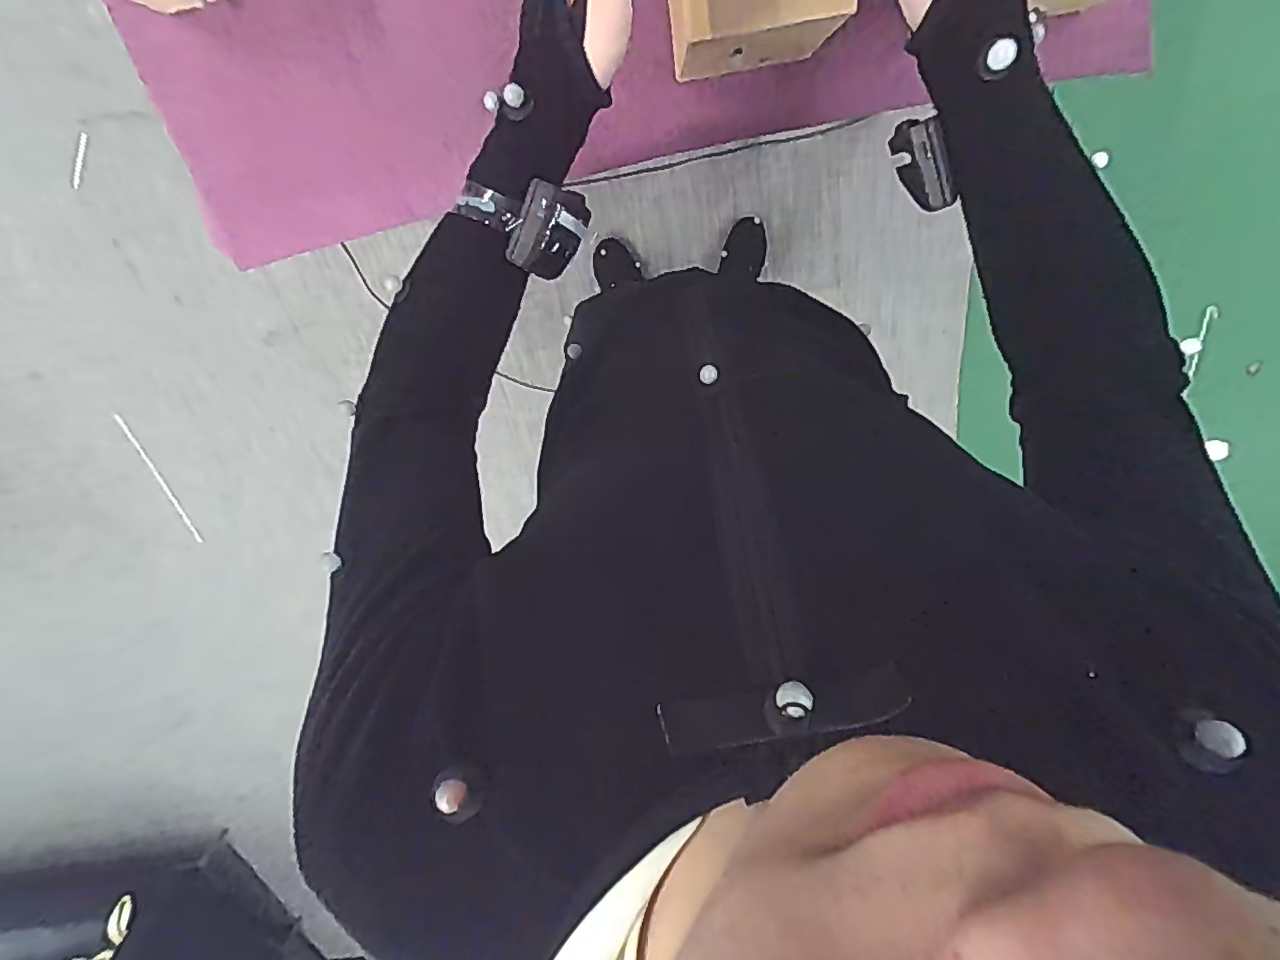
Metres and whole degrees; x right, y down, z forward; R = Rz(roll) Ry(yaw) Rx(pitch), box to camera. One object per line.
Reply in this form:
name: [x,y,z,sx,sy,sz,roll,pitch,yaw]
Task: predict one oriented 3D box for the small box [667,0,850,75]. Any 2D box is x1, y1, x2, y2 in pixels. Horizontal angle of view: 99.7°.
small box: [0.111,-0.547,0.558,0.168,0.176,0.179,-7,114,5]
